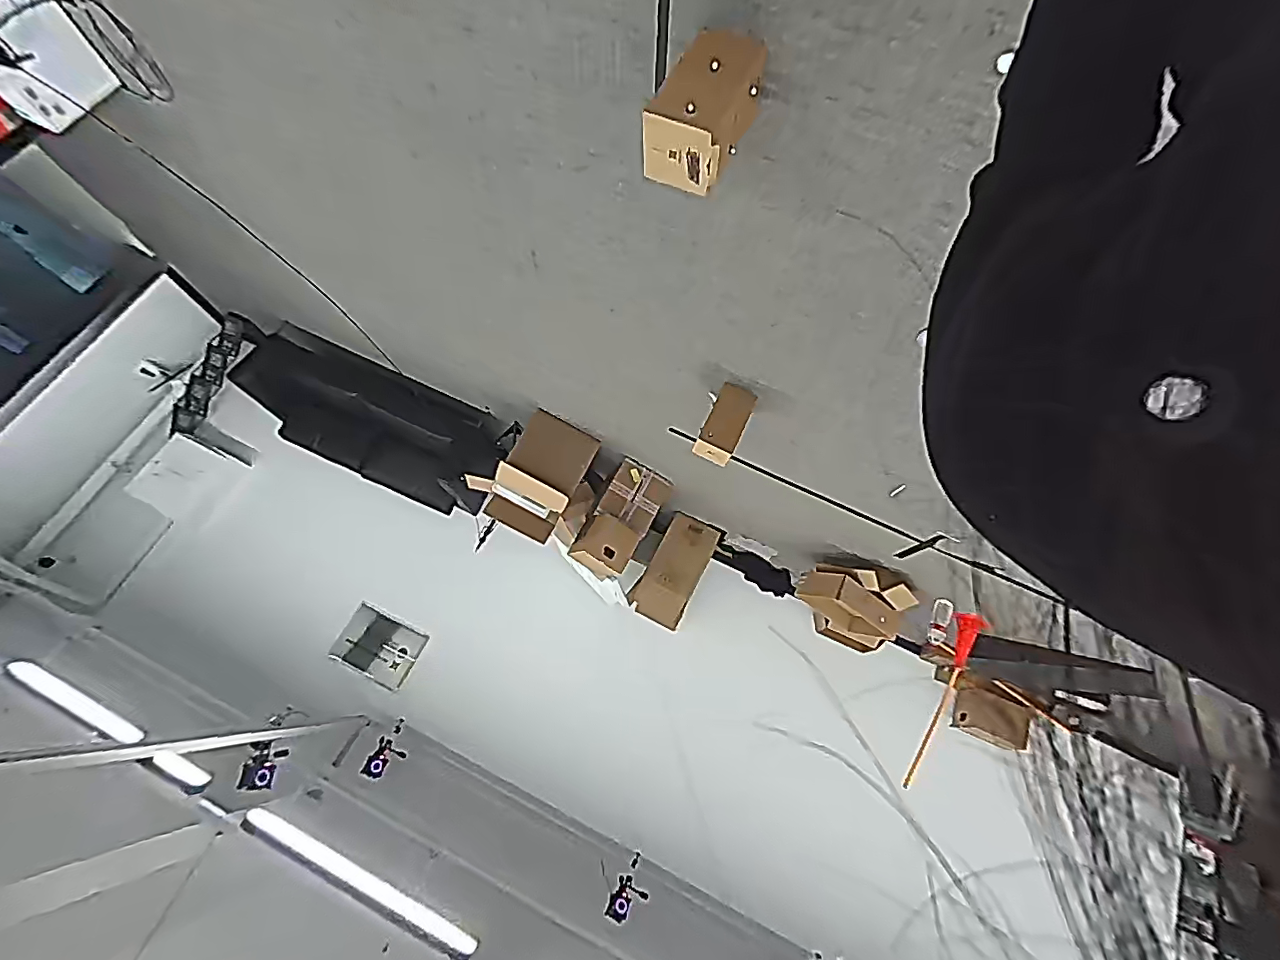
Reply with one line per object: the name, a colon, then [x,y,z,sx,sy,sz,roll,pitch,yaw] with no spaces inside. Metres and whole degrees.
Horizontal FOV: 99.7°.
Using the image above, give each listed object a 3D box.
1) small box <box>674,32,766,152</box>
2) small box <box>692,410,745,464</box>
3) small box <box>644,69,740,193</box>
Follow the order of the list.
small box: [0.195,-0.968,1.347,0.179,0.176,0.168,25,160,12]
small box: [0.368,-0.207,2.539,0.179,0.176,0.168,26,161,4]
small box: [0.123,-0.833,1.287,0.179,0.176,0.168,24,160,11]
